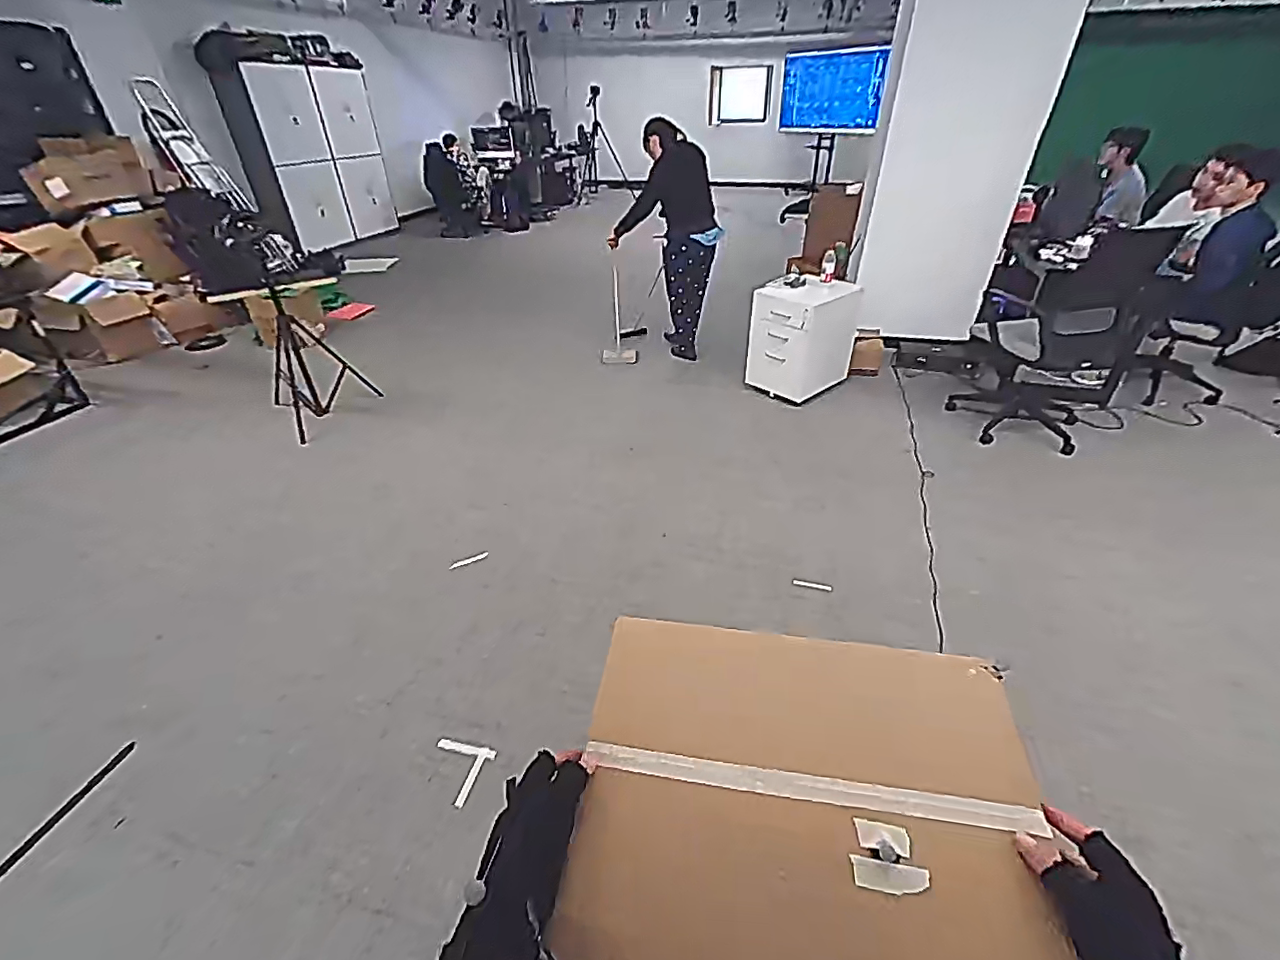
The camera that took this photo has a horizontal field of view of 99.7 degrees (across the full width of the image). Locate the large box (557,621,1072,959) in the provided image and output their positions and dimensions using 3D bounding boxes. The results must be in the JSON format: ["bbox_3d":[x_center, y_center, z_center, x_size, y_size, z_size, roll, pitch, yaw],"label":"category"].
[{"bbox_3d":[0.158,0.394,0.612,0.408,0.320,0.320,4,44,10],"label":"large box"}]
